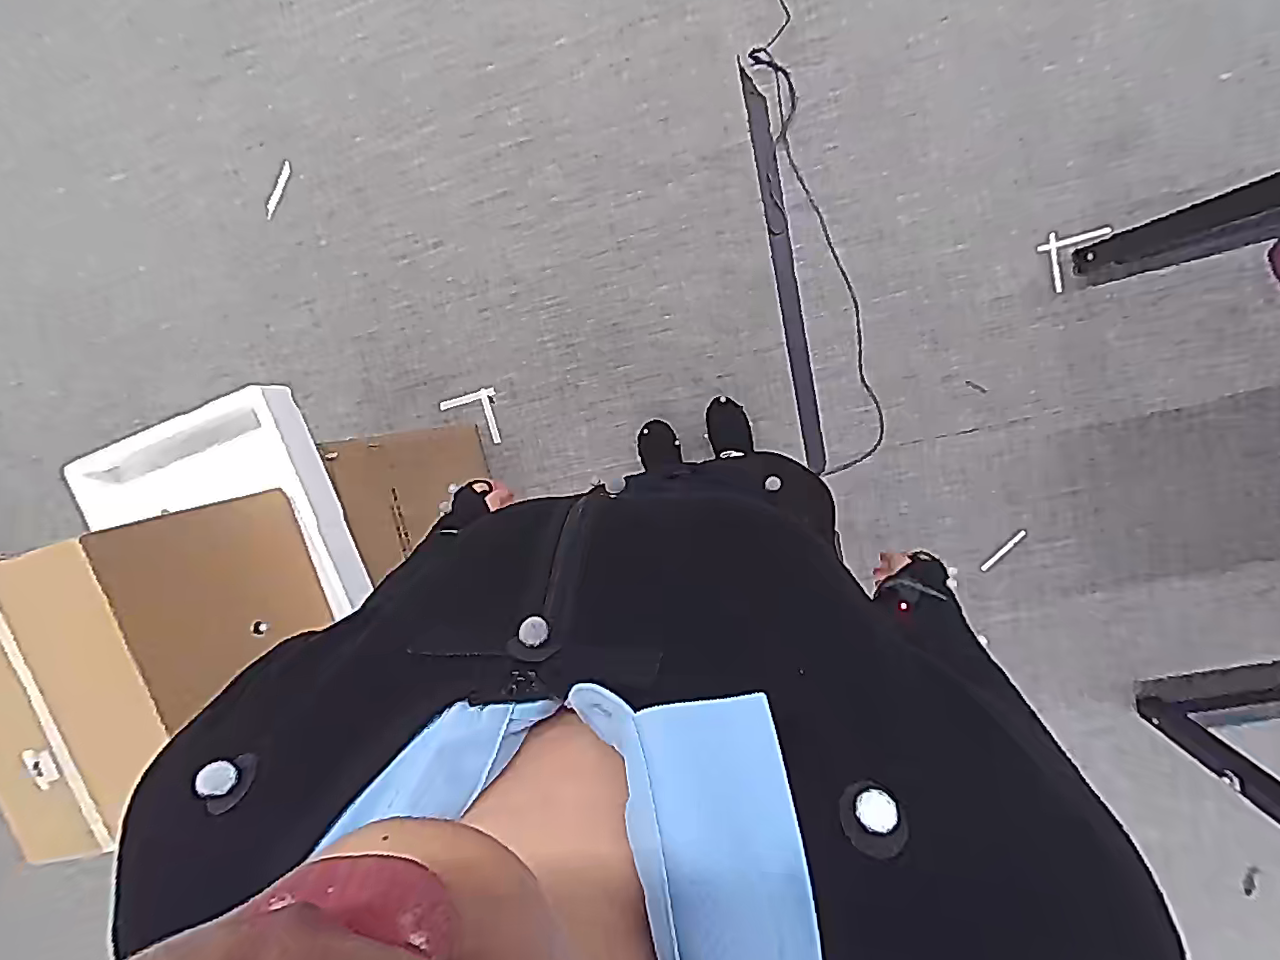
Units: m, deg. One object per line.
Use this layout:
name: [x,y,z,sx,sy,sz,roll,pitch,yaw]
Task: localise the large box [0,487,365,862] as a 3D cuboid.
large box: [-0.711,0.265,0.828,0.320,0.320,0.408,-16,98,12]
